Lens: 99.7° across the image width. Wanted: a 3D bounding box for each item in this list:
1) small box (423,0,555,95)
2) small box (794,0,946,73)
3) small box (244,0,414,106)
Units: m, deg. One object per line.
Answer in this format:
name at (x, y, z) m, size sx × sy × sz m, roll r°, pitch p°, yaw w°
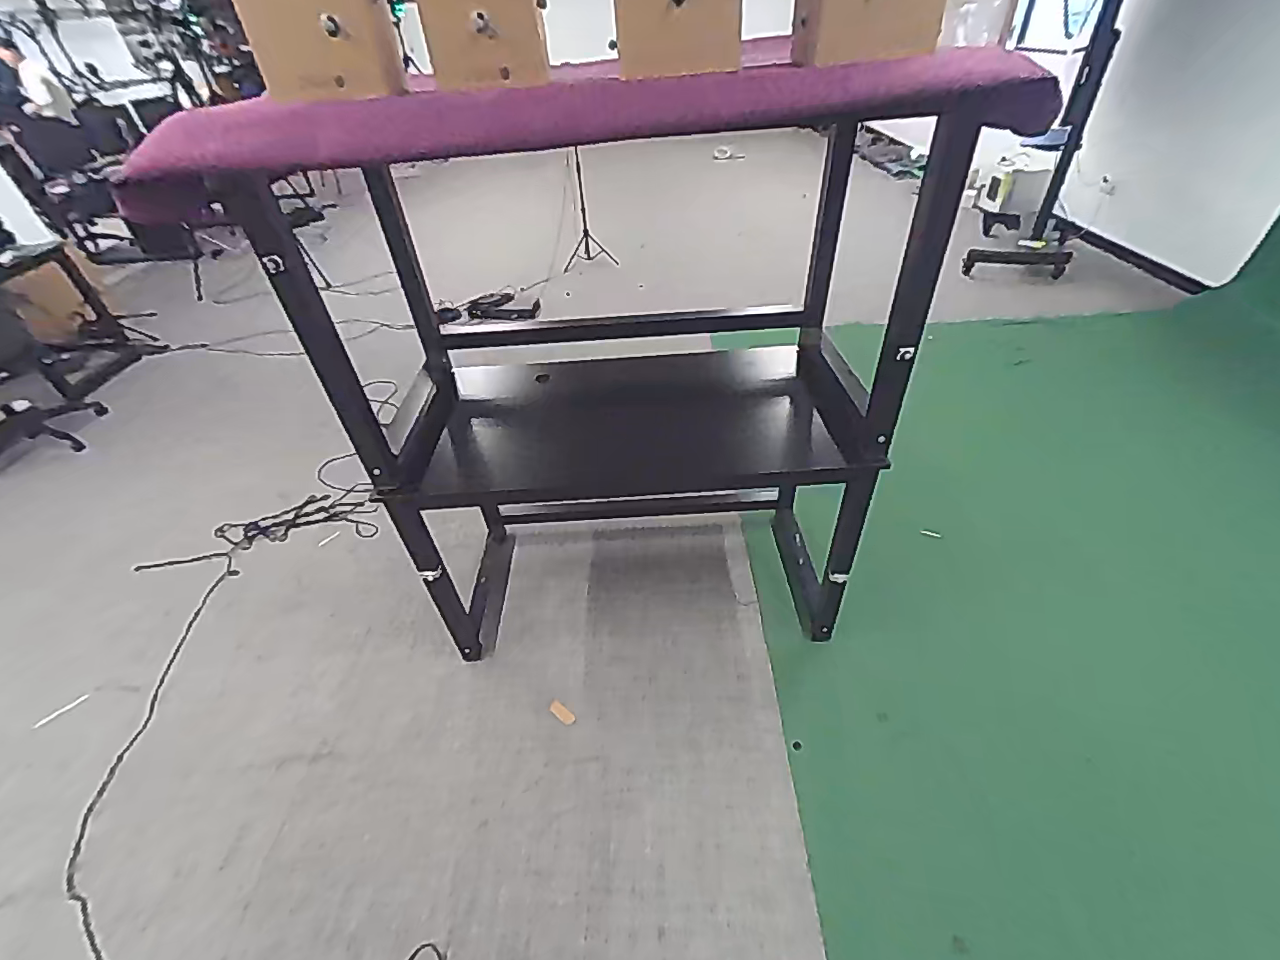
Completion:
small box at (-0.225, -0.701, 0.830) m, size 0.168 × 0.176 × 0.179 m, roll -5°, pitch 40°, yaw -2°
small box at (0.337, -0.714, 0.791) m, size 0.179 × 0.176 × 0.168 m, roll -4°, pitch 40°, yaw 3°
small box at (-0.465, -0.680, 0.827) m, size 0.168 × 0.176 × 0.179 m, roll -6°, pitch 39°, yaw -4°
